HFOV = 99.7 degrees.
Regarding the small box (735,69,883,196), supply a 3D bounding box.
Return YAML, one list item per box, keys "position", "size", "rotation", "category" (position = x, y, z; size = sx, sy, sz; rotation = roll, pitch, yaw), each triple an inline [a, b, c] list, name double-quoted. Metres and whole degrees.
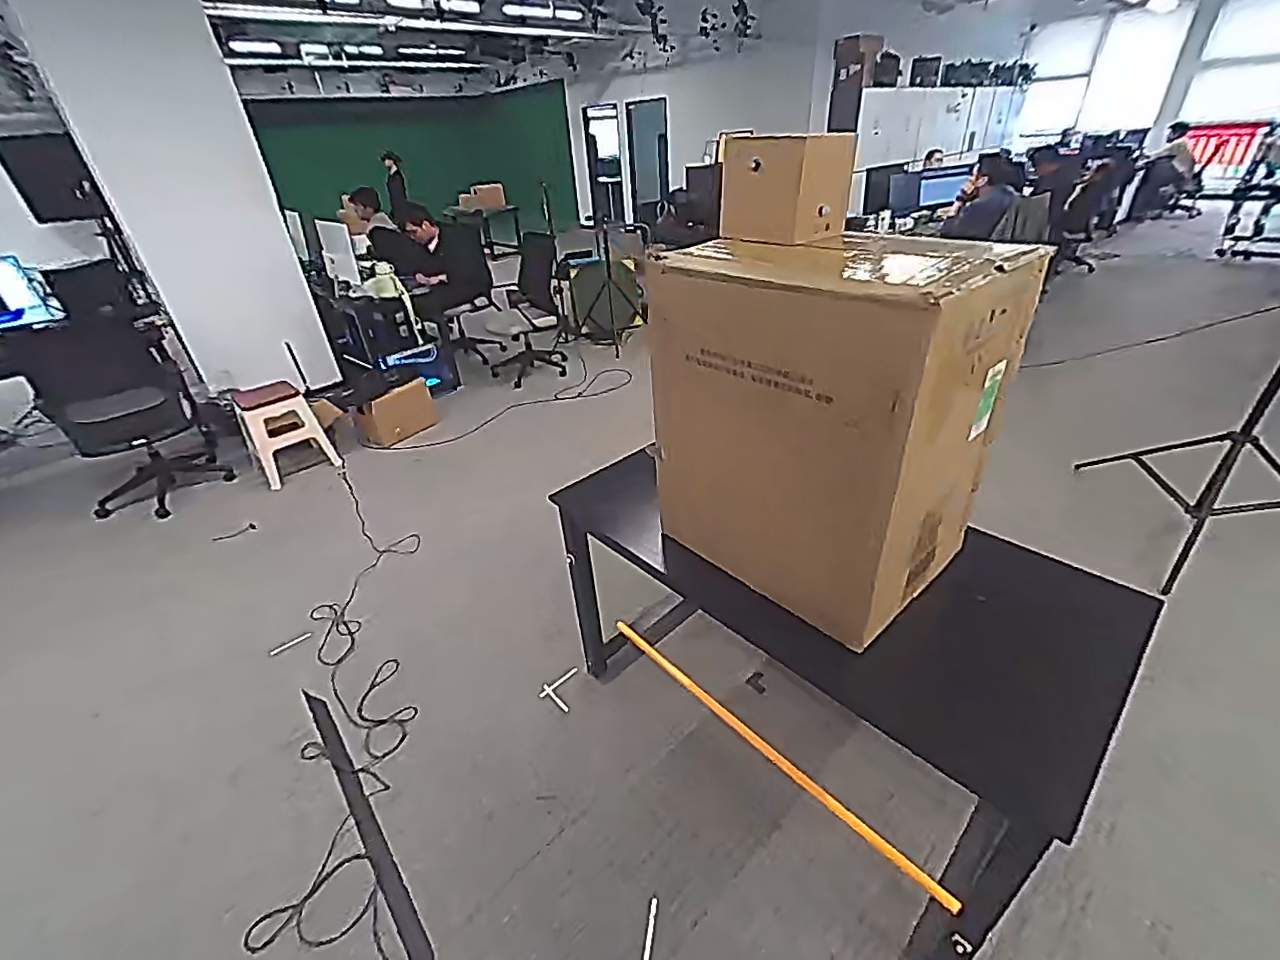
- position: [0.280, -0.587, 0.929]
  size: [0.168, 0.176, 0.179]
  rotation: [-27, 40, -33]
  category: "small box"
